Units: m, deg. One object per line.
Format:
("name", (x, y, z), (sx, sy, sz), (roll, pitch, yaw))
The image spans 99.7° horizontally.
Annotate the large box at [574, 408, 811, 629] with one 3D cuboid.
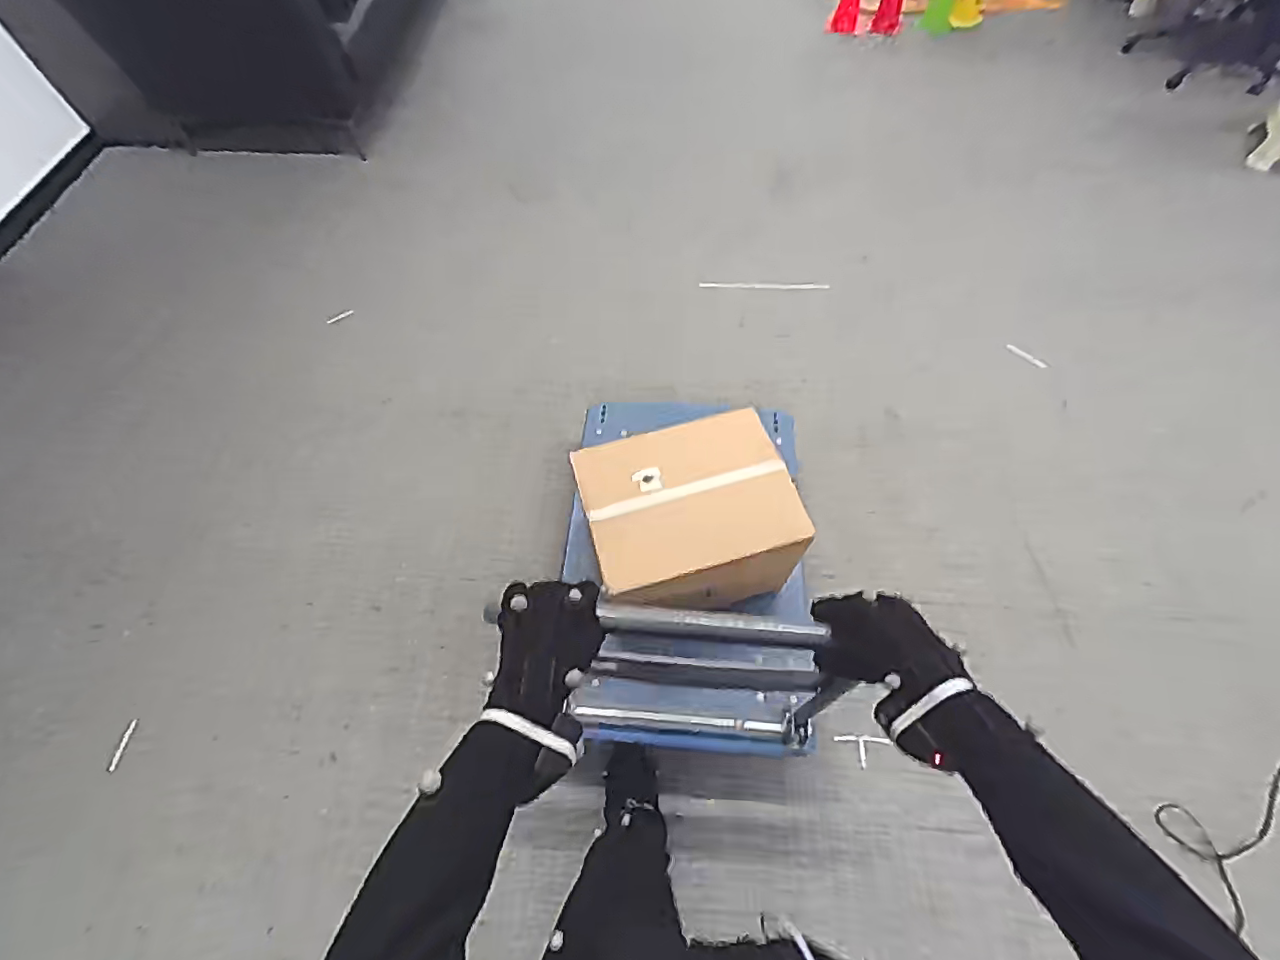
("large box", (0.100, 0.095, 1.196), (0.408, 0.320, 0.320), (-15, 61, -6))
